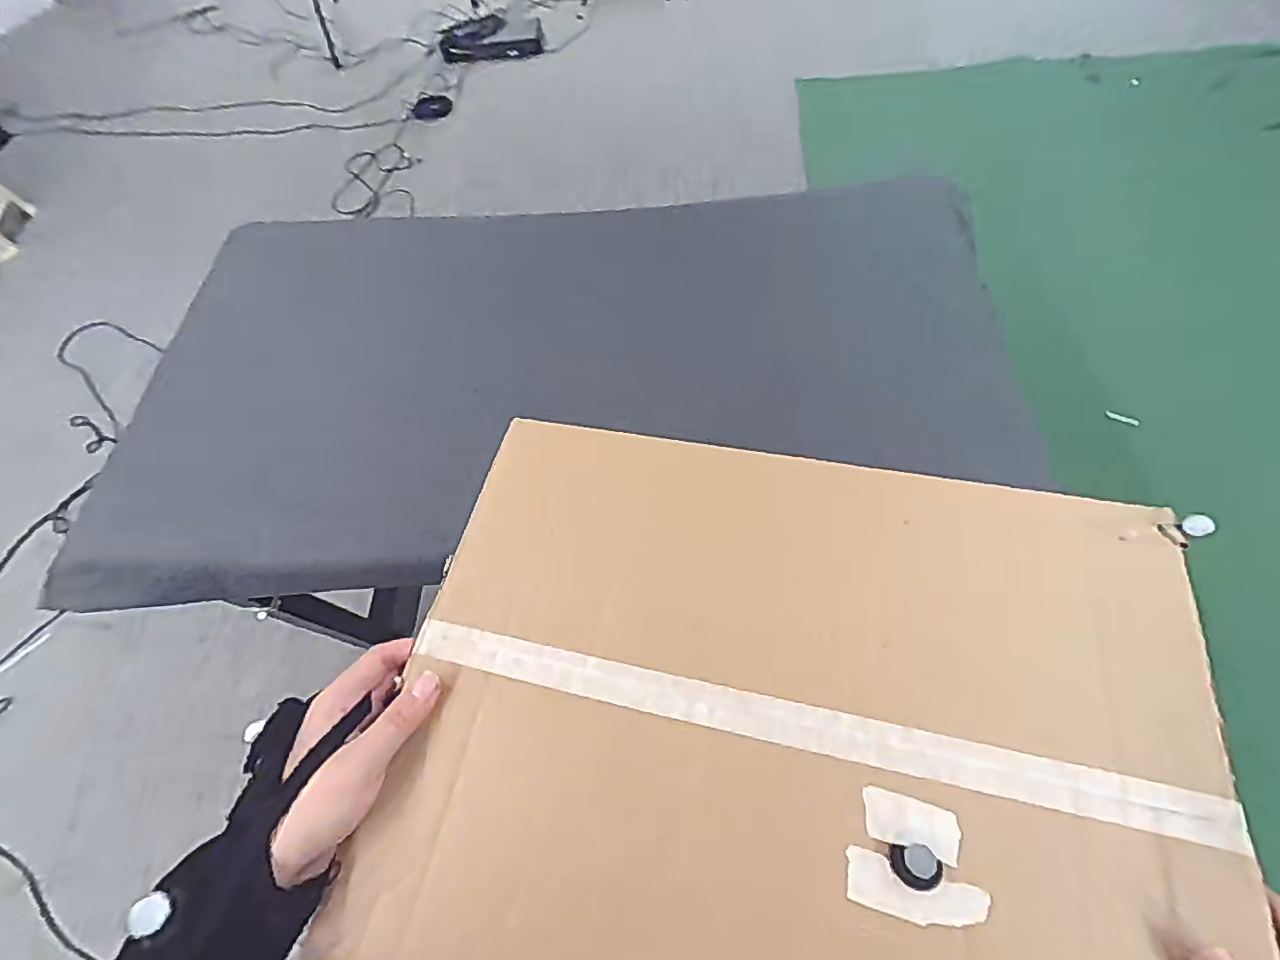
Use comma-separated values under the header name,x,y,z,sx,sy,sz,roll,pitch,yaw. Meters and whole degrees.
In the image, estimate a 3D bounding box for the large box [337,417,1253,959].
name,x,y,z,sx,sy,sz,roll,pitch,yaw
large box,0.088,0.180,0.422,0.408,0.320,0.320,8,64,11
